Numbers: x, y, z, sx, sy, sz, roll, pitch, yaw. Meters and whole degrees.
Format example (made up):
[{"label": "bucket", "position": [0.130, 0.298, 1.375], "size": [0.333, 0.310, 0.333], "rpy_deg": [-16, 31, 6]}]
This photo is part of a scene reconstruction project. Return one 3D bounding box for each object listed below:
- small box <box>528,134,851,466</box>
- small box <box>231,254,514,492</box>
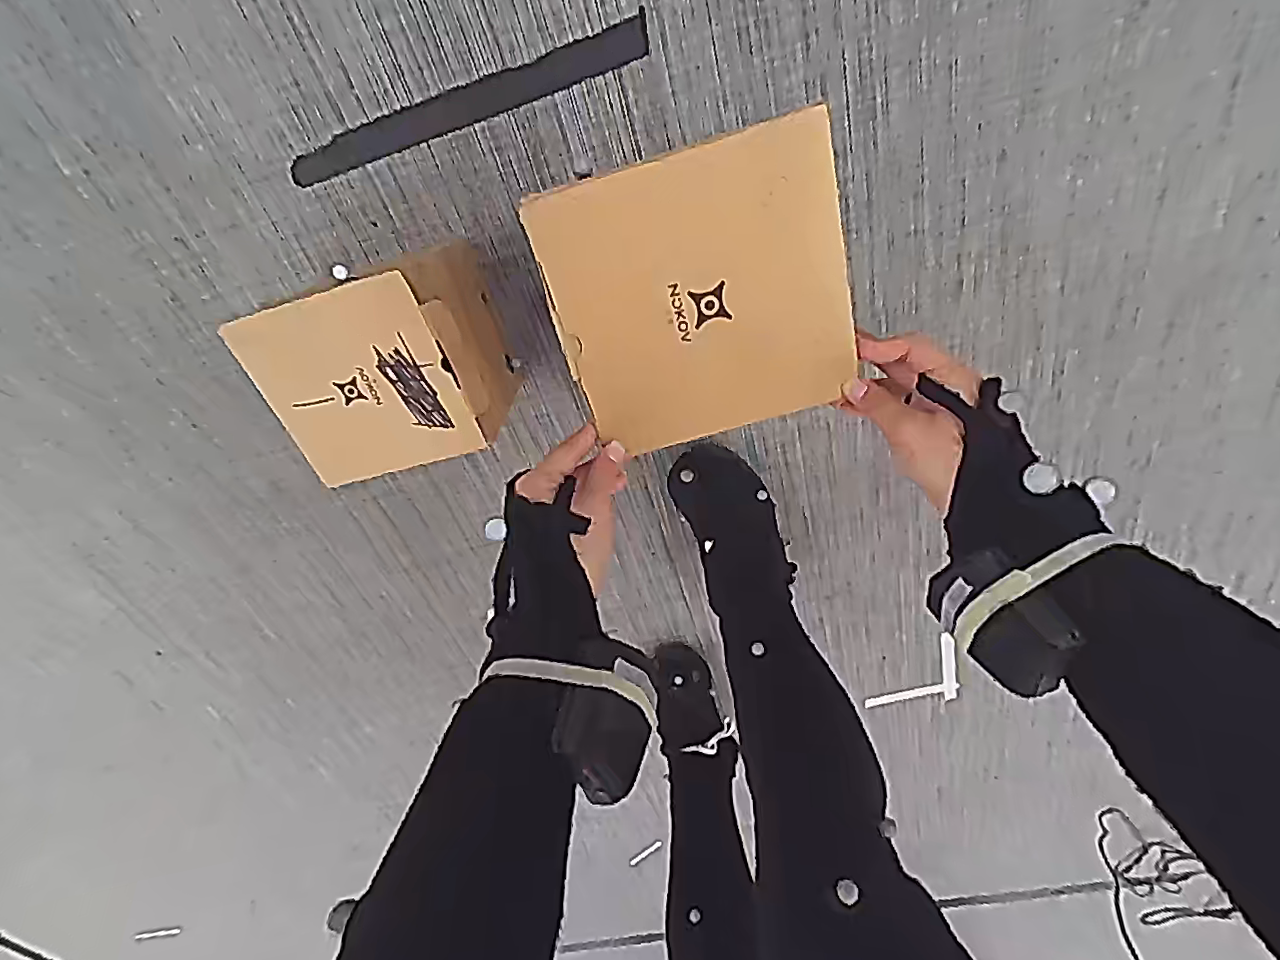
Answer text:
[{"label": "small box", "position": [0.036, -0.136, 0.409], "size": [0.179, 0.176, 0.168], "rpy_deg": [-15, 115, 7]}, {"label": "small box", "position": [-0.241, -0.115, 0.549], "size": [0.179, 0.176, 0.168], "rpy_deg": [-13, 120, 9]}]
